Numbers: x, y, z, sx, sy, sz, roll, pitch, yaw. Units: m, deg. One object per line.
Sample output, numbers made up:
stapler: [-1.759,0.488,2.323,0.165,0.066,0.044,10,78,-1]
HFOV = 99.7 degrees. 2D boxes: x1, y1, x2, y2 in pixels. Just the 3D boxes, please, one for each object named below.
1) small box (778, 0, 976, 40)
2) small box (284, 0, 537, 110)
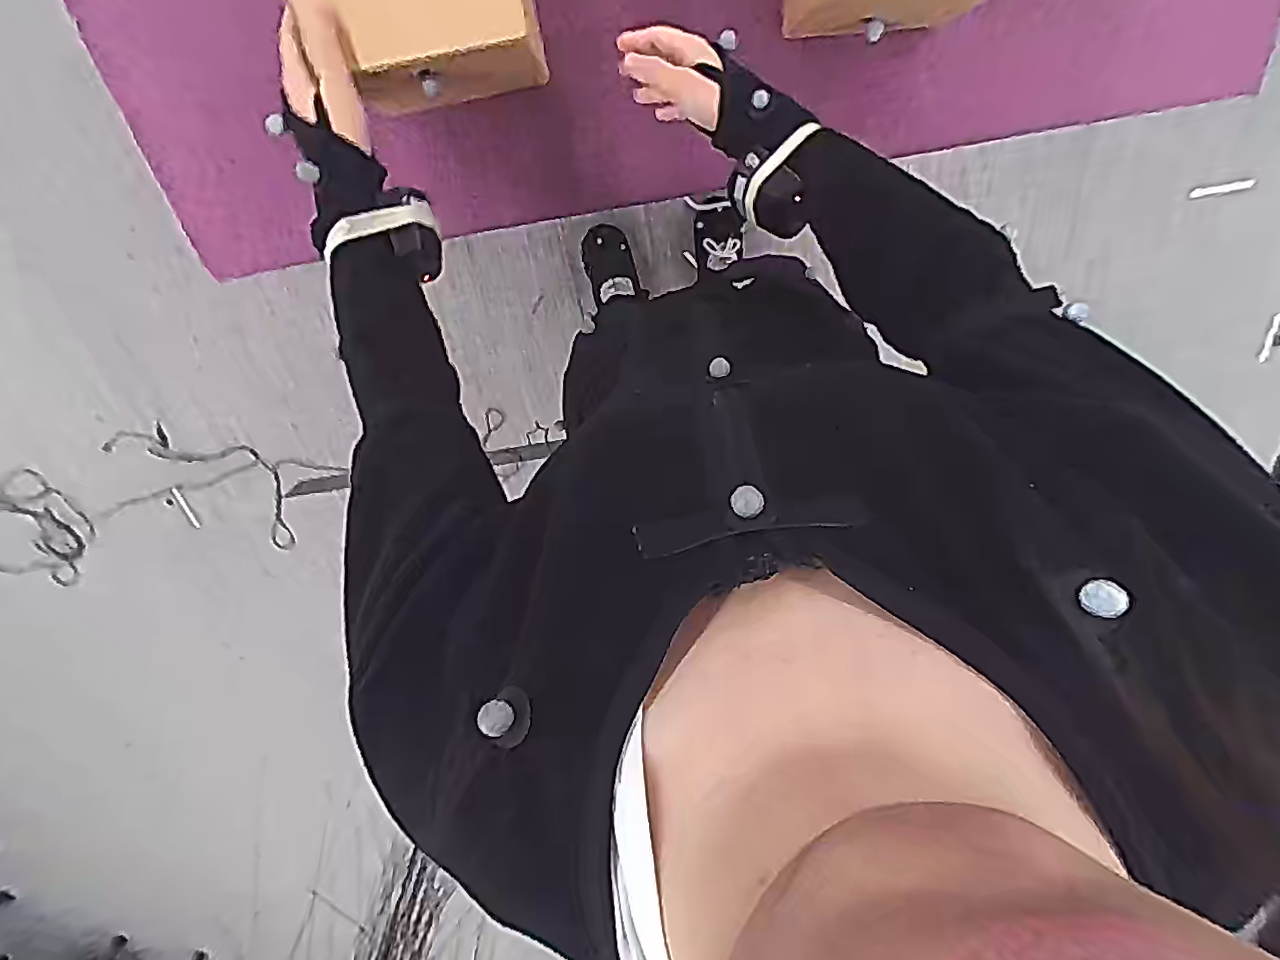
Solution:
small box: [0.219,-0.503,0.450,0.168,0.176,0.179,-5,117,0]
small box: [-0.193,-0.439,0.463,0.179,0.176,0.168,-10,117,3]
